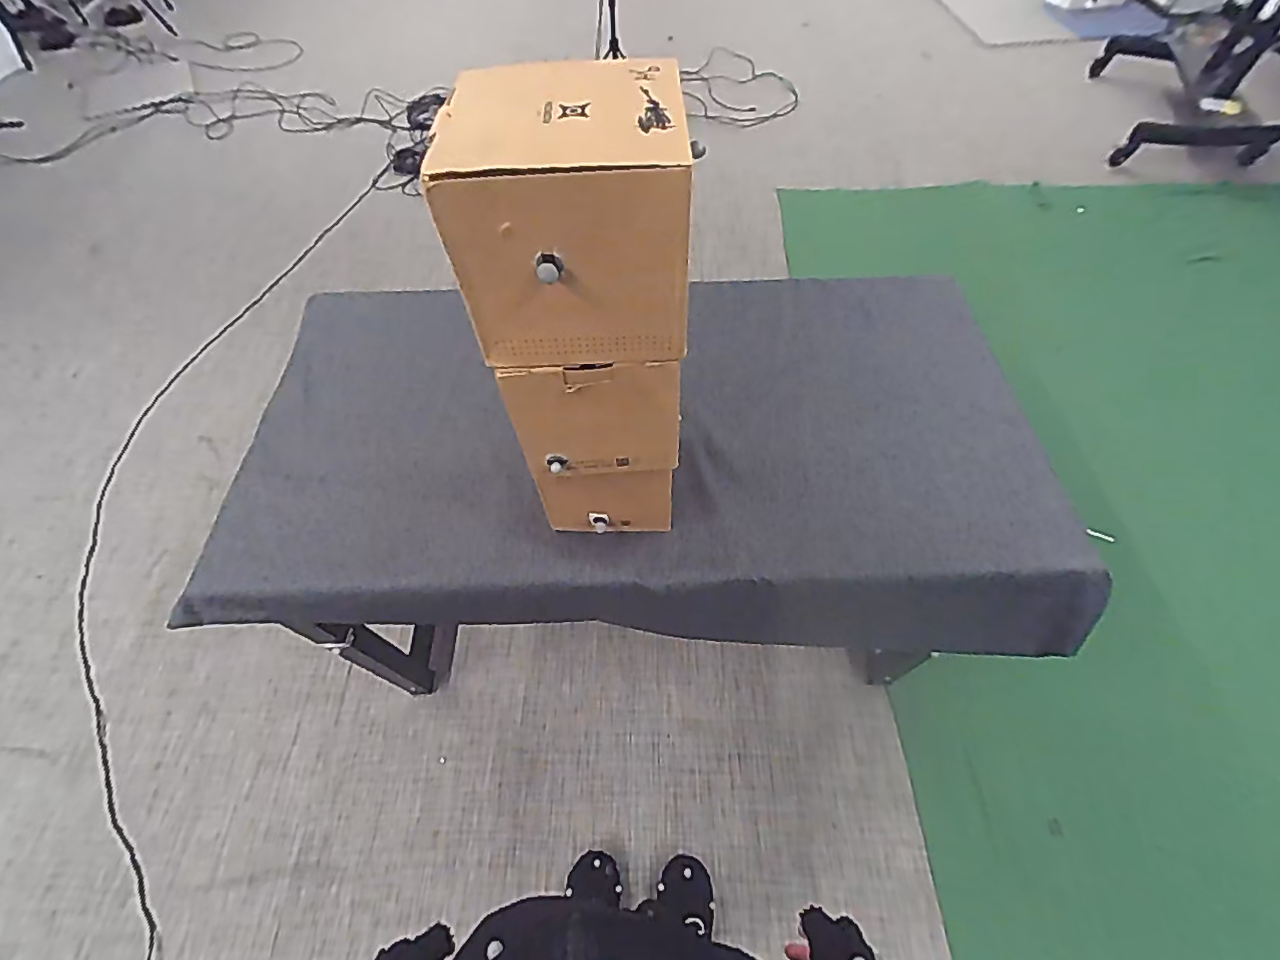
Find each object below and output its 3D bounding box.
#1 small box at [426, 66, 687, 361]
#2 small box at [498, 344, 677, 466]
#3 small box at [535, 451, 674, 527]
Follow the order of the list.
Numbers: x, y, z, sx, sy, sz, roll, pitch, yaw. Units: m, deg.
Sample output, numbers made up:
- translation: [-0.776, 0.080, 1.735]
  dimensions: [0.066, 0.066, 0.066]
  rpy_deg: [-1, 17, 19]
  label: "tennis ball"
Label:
- translation: [-0.055, -0.219, 0.463]
  dimensions: [0.179, 0.176, 0.168]
  rpy_deg: [-5, 55, 0]
  label: "small box"
- translation: [-0.051, -0.129, 0.596]
  dimensions: [0.168, 0.176, 0.179]
  rpy_deg: [-7, 58, -1]
  label: "small box"
- translation: [-0.039, -0.051, 0.741]
  dimensions: [0.168, 0.176, 0.179]
  rpy_deg: [-2, 58, 3]
  label: "small box"
